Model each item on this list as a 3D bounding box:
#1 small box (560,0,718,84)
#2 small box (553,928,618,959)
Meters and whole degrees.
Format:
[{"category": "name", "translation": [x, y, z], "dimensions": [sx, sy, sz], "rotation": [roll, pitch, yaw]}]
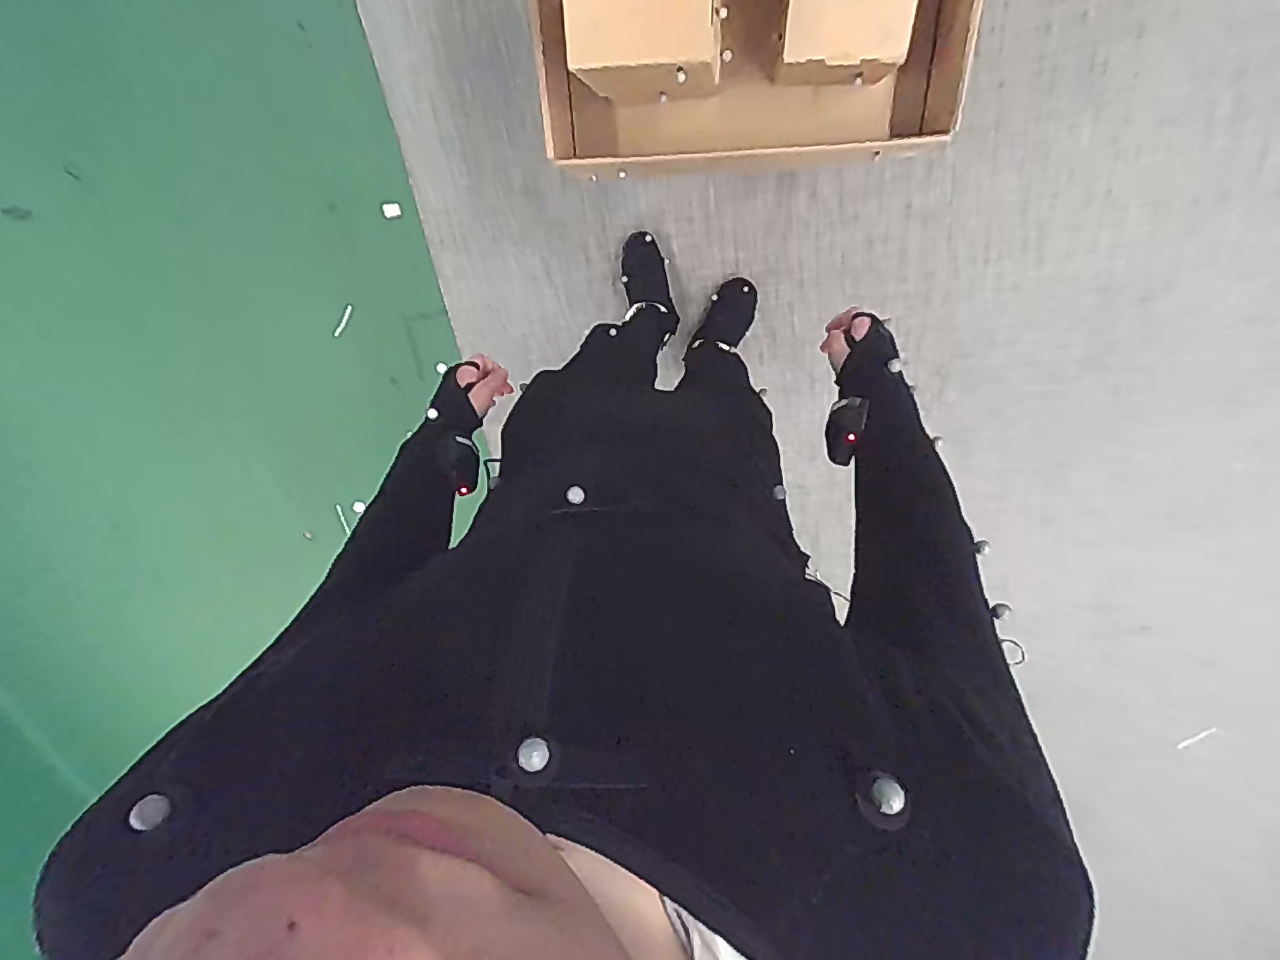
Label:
[{"category": "small box", "translation": [0.005, -0.610, 0.672], "dimensions": [0.179, 0.176, 0.168], "rotation": [2, 118, 9]}, {"category": "small box", "translation": [-0.169, 1.508, 1.641], "dimensions": [0.168, 0.176, 0.179], "rotation": [-5, 116, 12]}]
